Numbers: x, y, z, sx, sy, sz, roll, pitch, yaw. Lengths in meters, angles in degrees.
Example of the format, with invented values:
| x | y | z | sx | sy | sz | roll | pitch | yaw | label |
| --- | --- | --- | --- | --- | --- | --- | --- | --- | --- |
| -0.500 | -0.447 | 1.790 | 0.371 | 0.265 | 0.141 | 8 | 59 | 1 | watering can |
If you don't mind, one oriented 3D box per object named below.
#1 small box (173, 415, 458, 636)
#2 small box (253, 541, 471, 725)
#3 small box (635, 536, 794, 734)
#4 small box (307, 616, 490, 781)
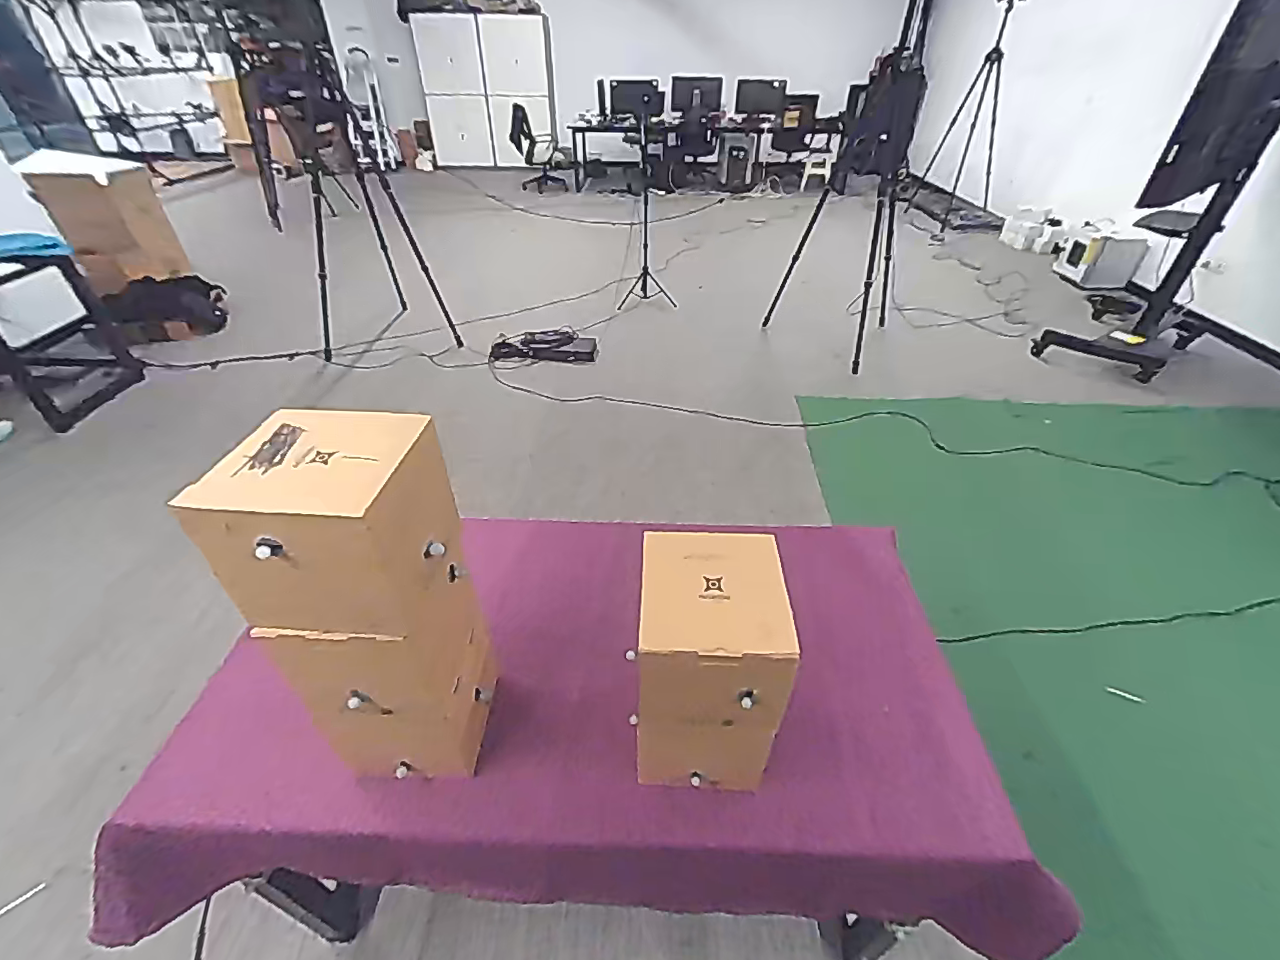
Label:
| x | y | z | sx | sy | sz | roll | pitch | yaw | label |
| --- | --- | --- | --- | --- | --- | --- | --- | --- | --- |
| -0.315 | 0.047 | 0.573 | 0.179 | 0.176 | 0.168 | 3 | 38 | 2 | small box |
| -0.322 | 0.176 | 0.674 | 0.168 | 0.176 | 0.179 | 1 | 39 | 2 | small box |
| 0.080 | 0.190 | 0.665 | 0.168 | 0.176 | 0.179 | 2 | 39 | 1 | small box |
| -0.324 | 0.309 | 0.773 | 0.179 | 0.176 | 0.168 | 1 | 38 | 0 | small box |
